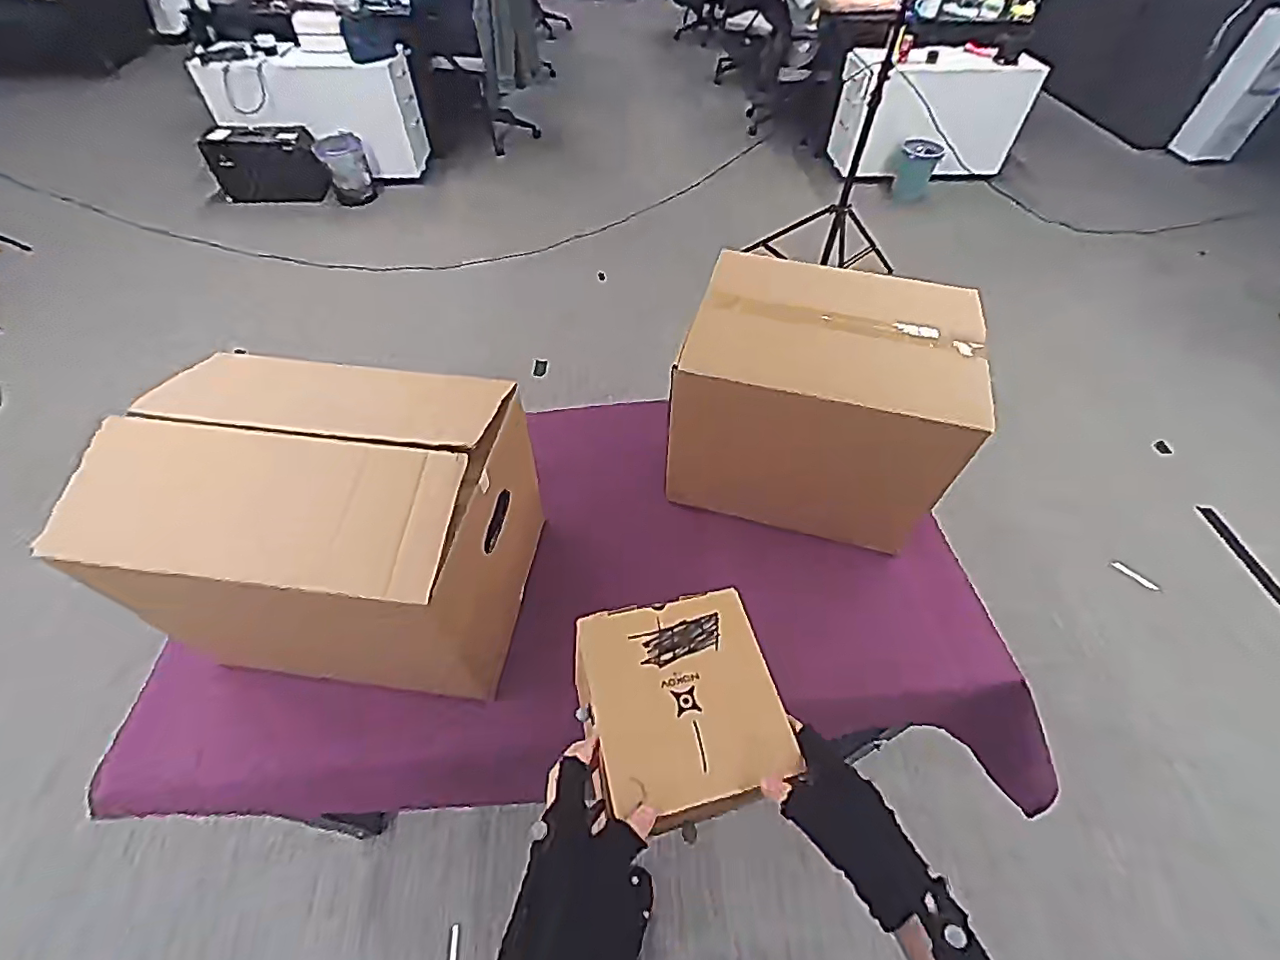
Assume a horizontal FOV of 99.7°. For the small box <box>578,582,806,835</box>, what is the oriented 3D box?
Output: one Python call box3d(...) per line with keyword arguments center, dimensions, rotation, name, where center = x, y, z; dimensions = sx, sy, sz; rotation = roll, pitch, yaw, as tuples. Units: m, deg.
box3d(center=(0.032, 0.227, 0.540), dimensions=(0.168, 0.176, 0.179), rotation=(-7, 53, -13), name="small box")
